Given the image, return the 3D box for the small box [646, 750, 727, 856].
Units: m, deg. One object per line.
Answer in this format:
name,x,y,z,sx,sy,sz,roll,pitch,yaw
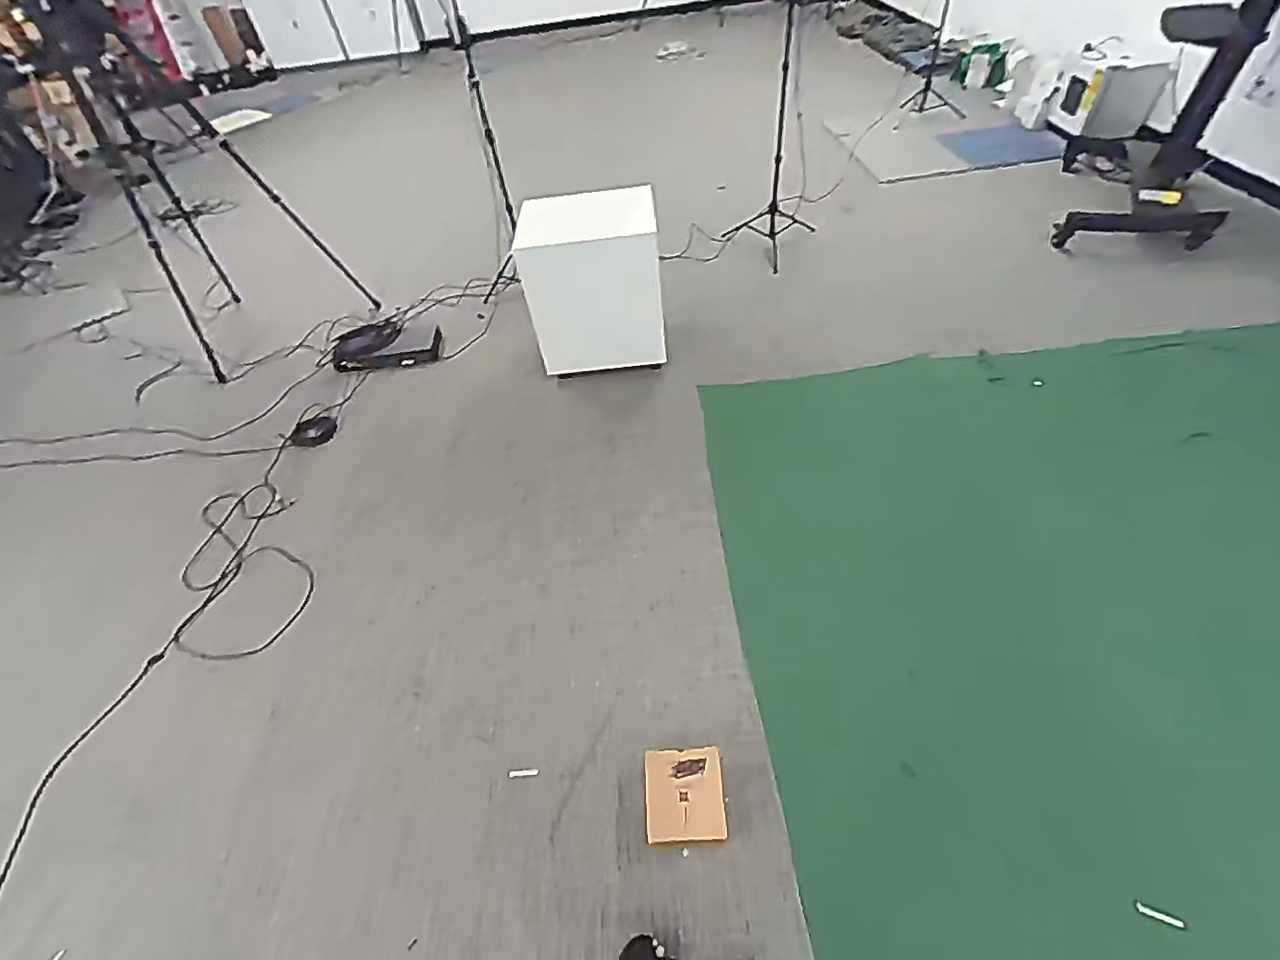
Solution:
small box,0.100,0.722,1.207,0.168,0.176,0.179,-5,50,3
